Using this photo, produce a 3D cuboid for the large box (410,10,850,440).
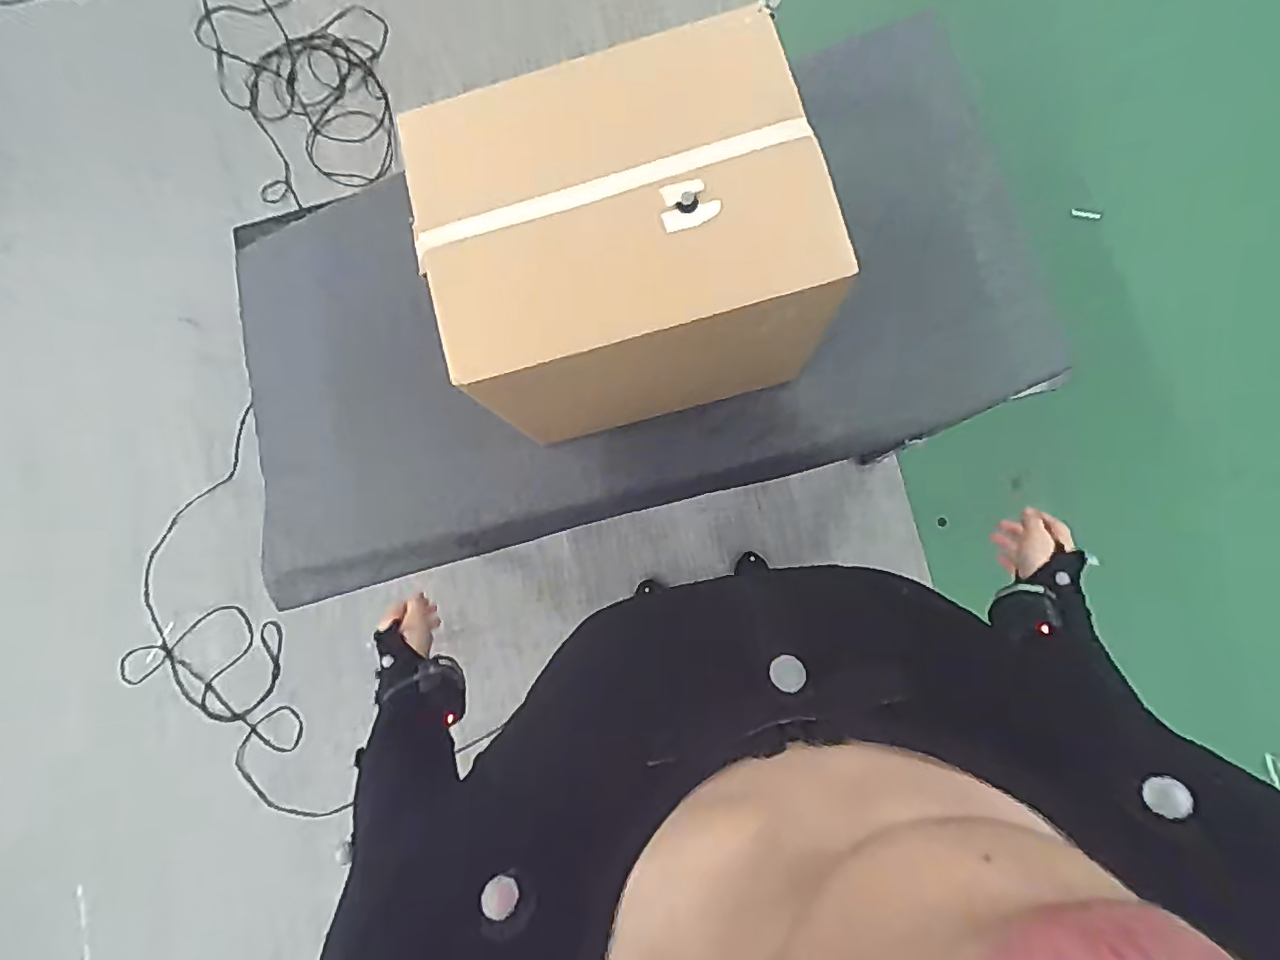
[{"bbox_3d":[-0.012,-0.276,0.700,0.408,0.320,0.320,-15,82,3],"label":"large box"}]
